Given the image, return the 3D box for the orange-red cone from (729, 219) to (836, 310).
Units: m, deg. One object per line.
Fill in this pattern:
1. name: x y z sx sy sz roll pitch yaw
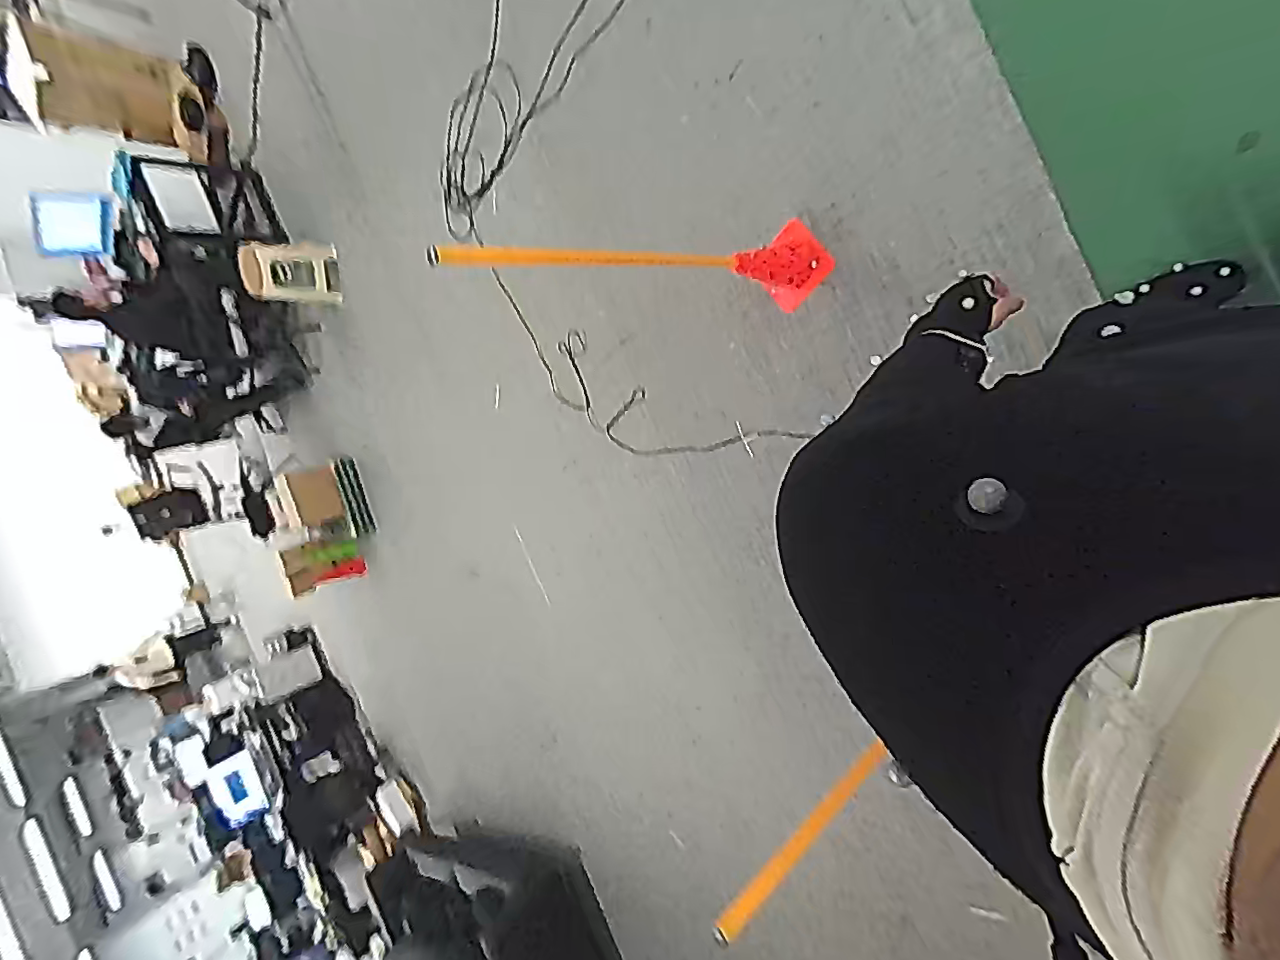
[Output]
1. orange-red cone: 0.353 -0.603 1.498 0.198 0.360 0.199 -44 73 41
